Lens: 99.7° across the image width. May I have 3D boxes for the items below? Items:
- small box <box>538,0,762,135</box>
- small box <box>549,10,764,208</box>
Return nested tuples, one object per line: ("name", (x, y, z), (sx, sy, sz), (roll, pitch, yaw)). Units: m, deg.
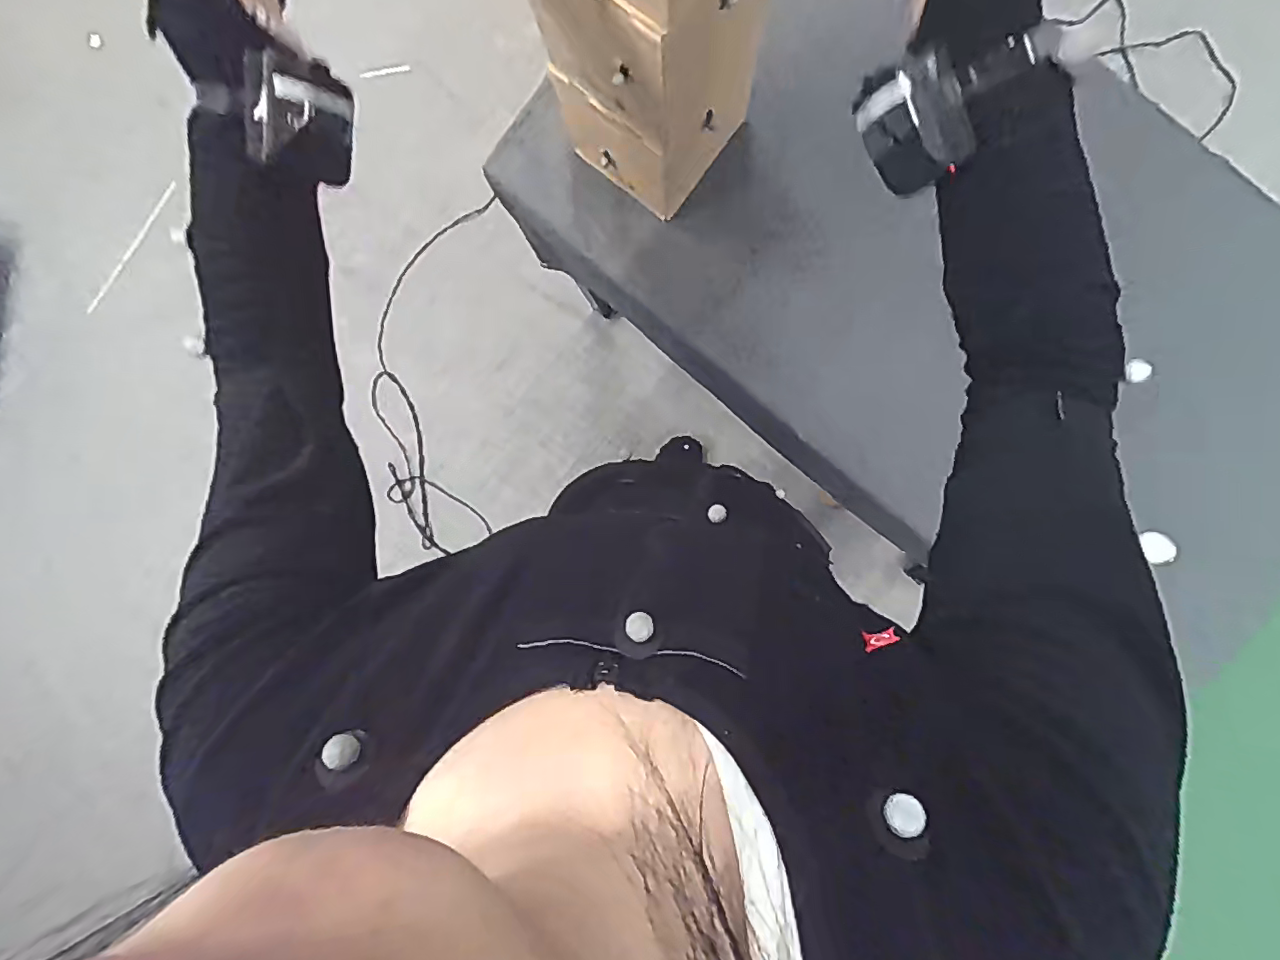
("small box", (0.012, -0.467, 0.488), (0.168, 0.176, 0.179), (39, 95, 0))
("small box", (0.020, -0.476, 0.651), (0.168, 0.176, 0.179), (38, 96, 1))
